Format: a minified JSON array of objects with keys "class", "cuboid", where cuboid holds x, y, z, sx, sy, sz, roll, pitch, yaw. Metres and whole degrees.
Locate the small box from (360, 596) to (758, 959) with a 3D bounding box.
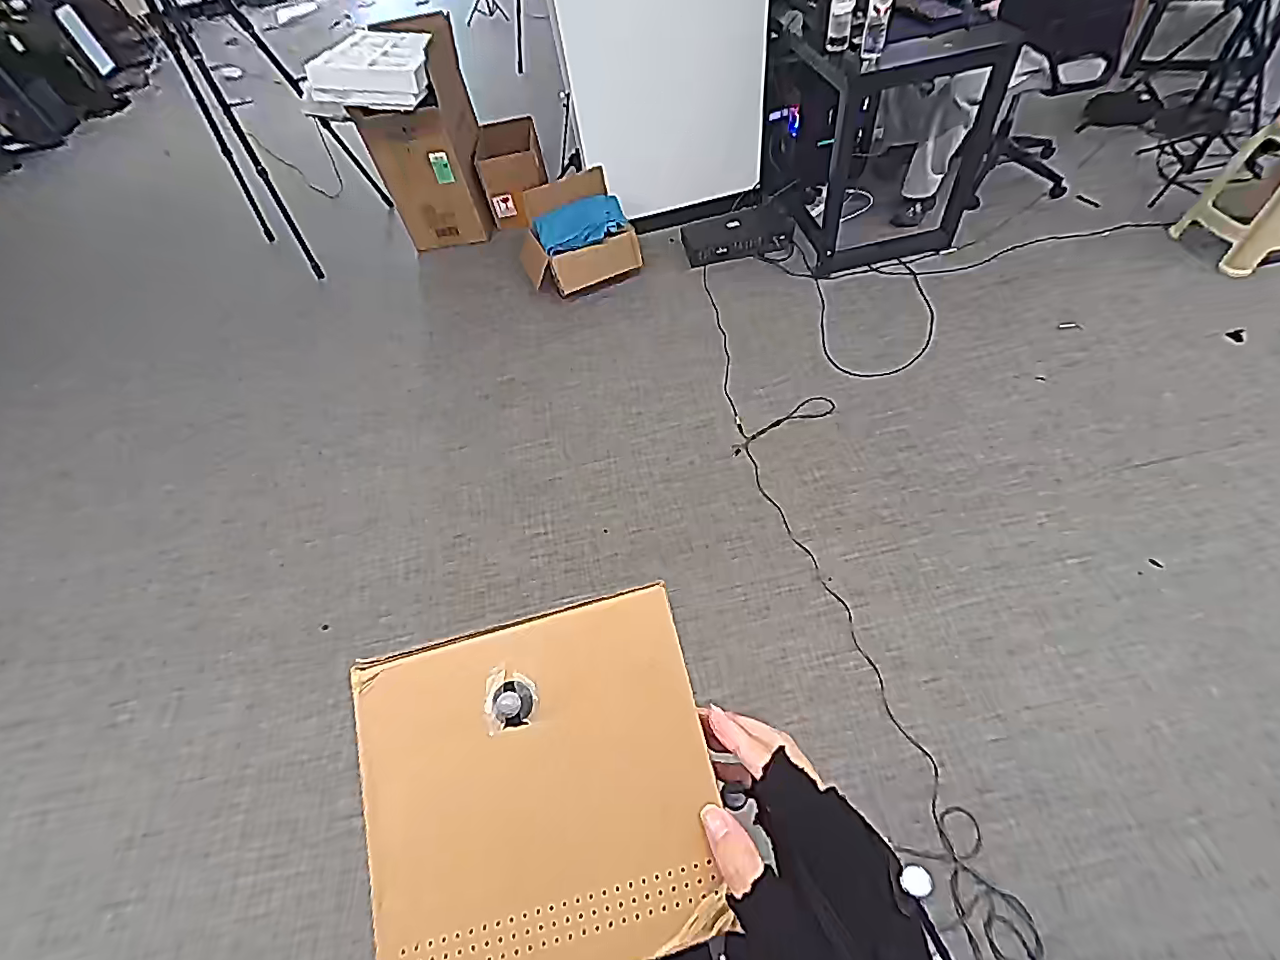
[{"class":"small box","cuboid":[-0.044,0.185,0.343,0.179,0.168,0.176,-14,73,-2]}]
